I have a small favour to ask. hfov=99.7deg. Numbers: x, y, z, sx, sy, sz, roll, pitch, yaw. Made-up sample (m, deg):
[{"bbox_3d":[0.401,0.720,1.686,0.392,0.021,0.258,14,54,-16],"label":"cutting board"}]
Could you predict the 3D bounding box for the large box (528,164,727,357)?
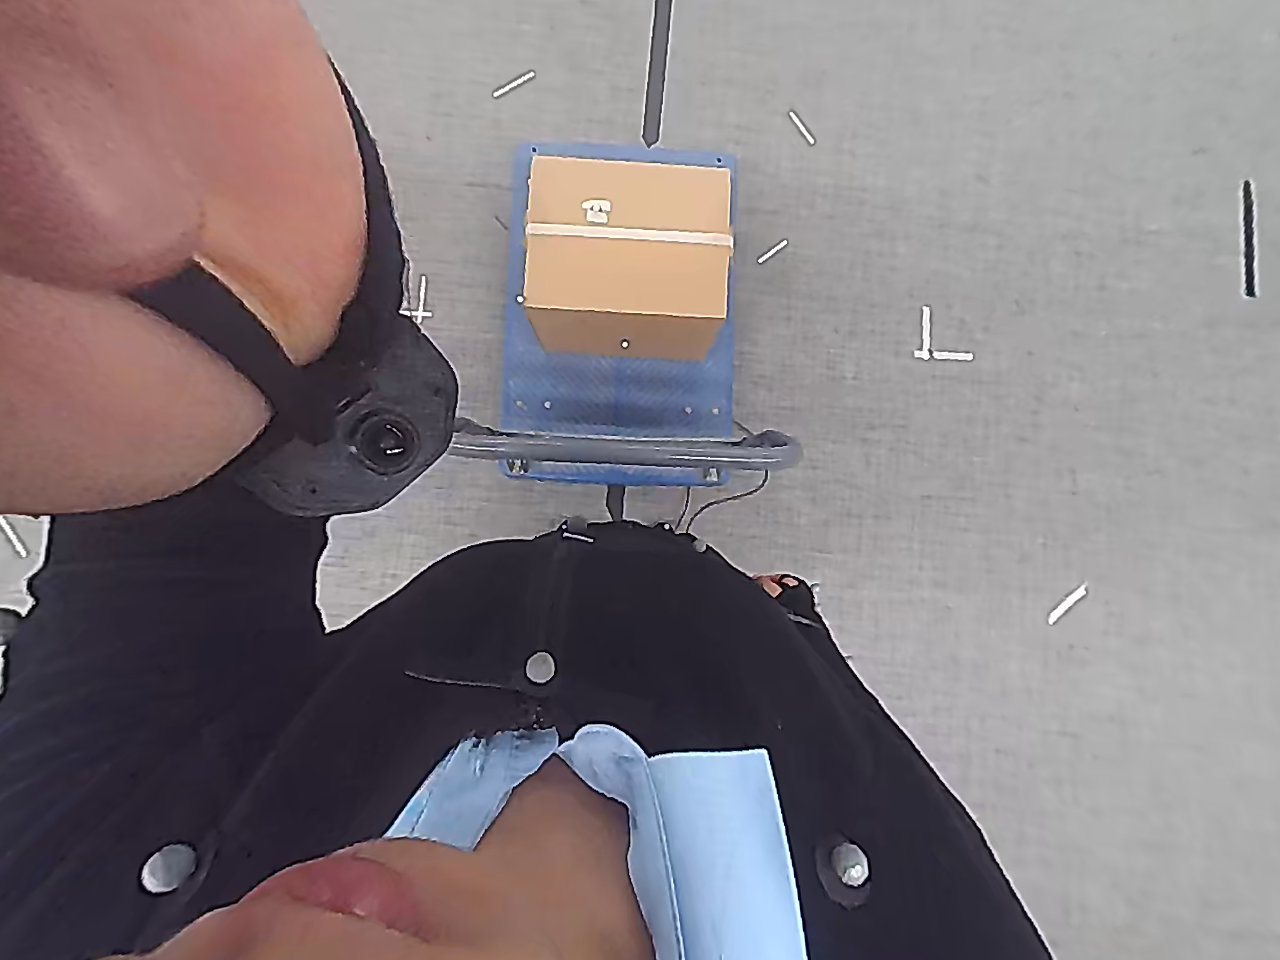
[{"bbox_3d":[-0.023,-0.479,1.245,0.408,0.320,0.320,2,85,-1],"label":"large box"}]
